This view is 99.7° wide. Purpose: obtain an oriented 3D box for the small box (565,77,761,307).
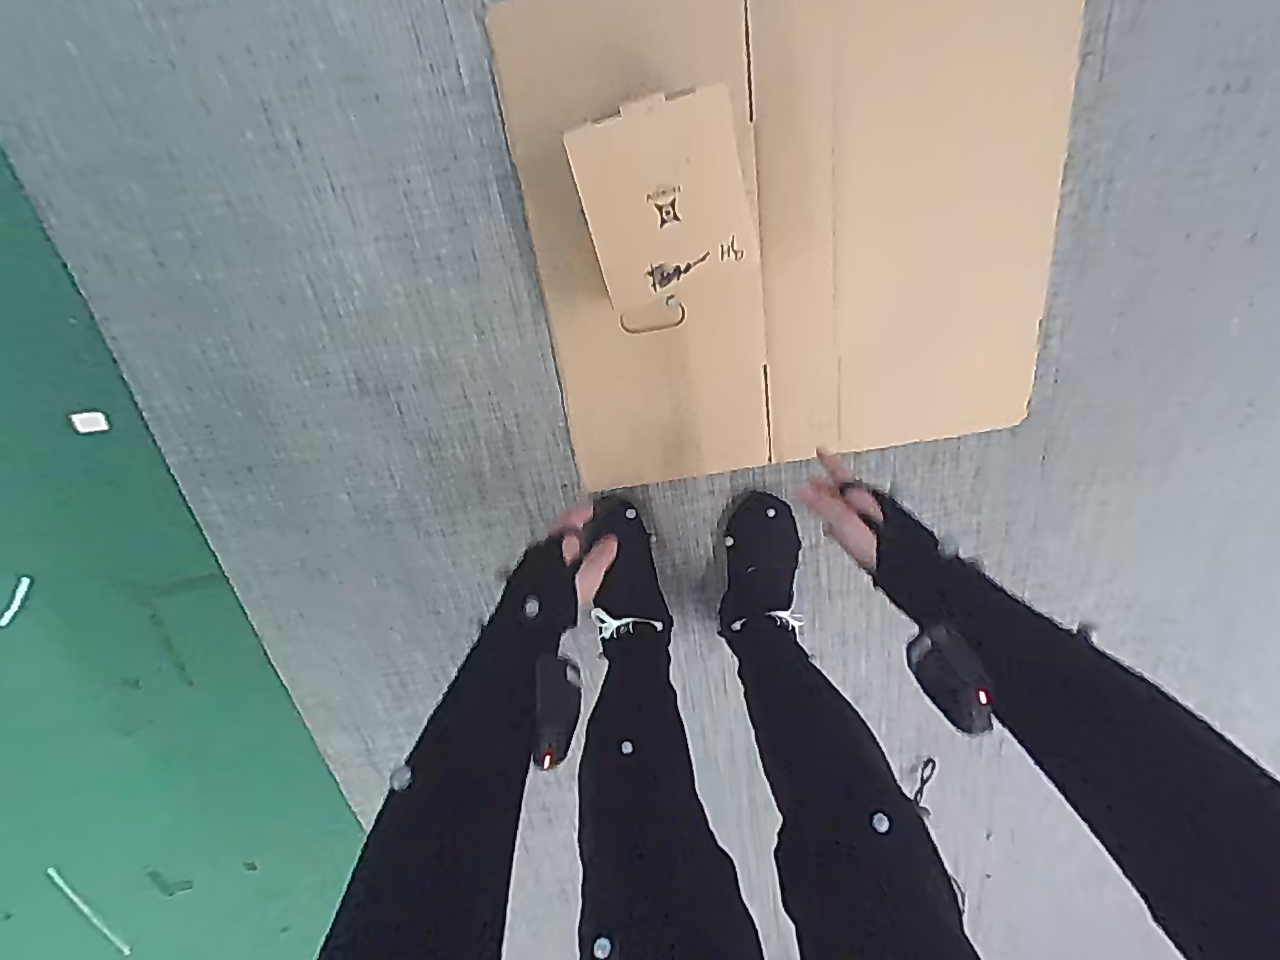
[{"bbox_3d":[0.022,-0.310,0.615,0.168,0.176,0.179,-16,112,3],"label":"small box"}]
